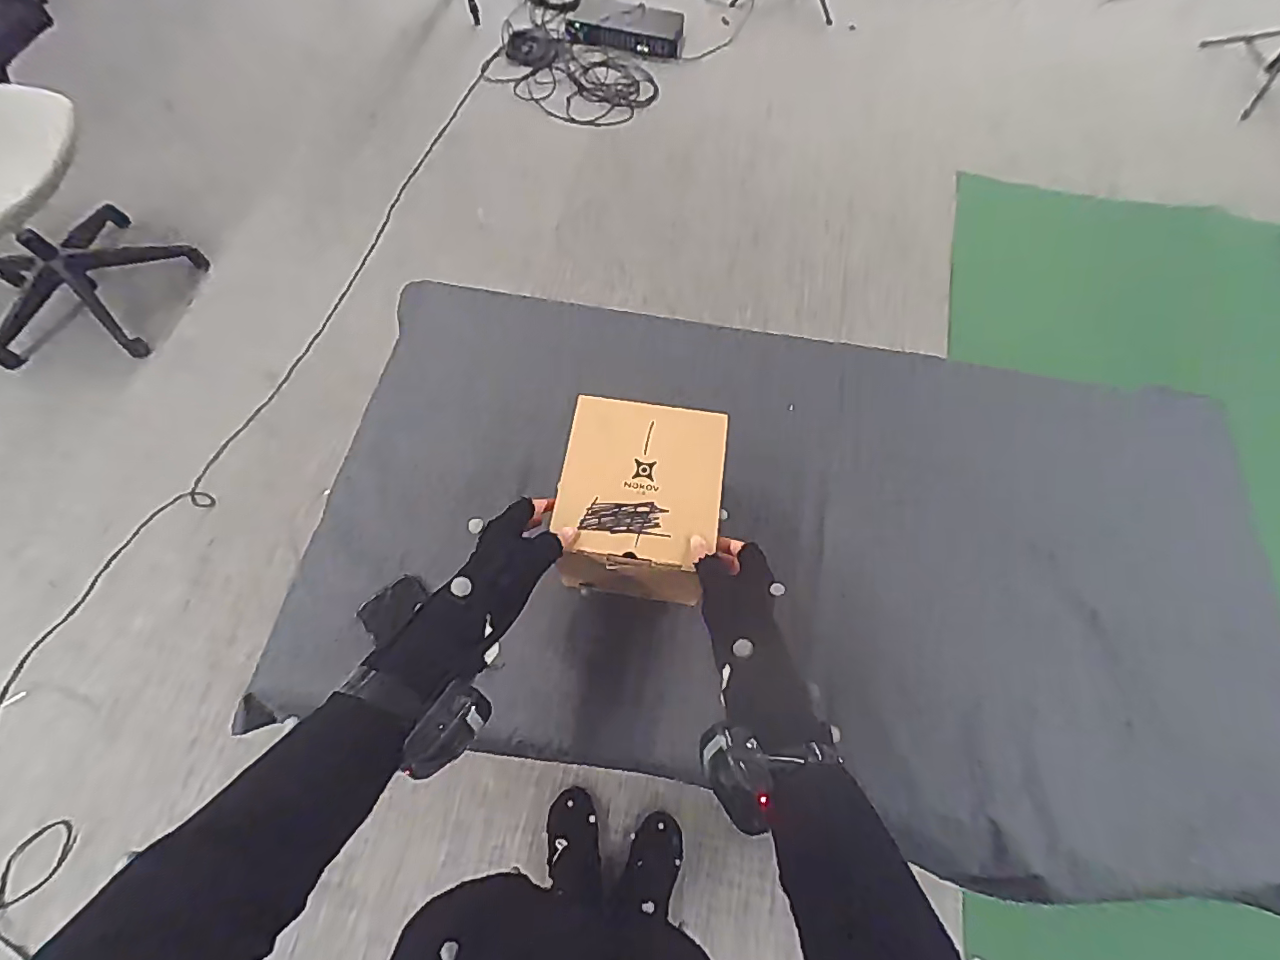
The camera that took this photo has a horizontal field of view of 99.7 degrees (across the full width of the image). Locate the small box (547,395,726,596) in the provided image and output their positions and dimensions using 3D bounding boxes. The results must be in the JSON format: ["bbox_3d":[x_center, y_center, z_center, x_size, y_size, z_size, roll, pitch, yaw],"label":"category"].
[{"bbox_3d":[0.000,0.028,0.629,0.168,0.176,0.179,8,66,2],"label":"small box"}]
